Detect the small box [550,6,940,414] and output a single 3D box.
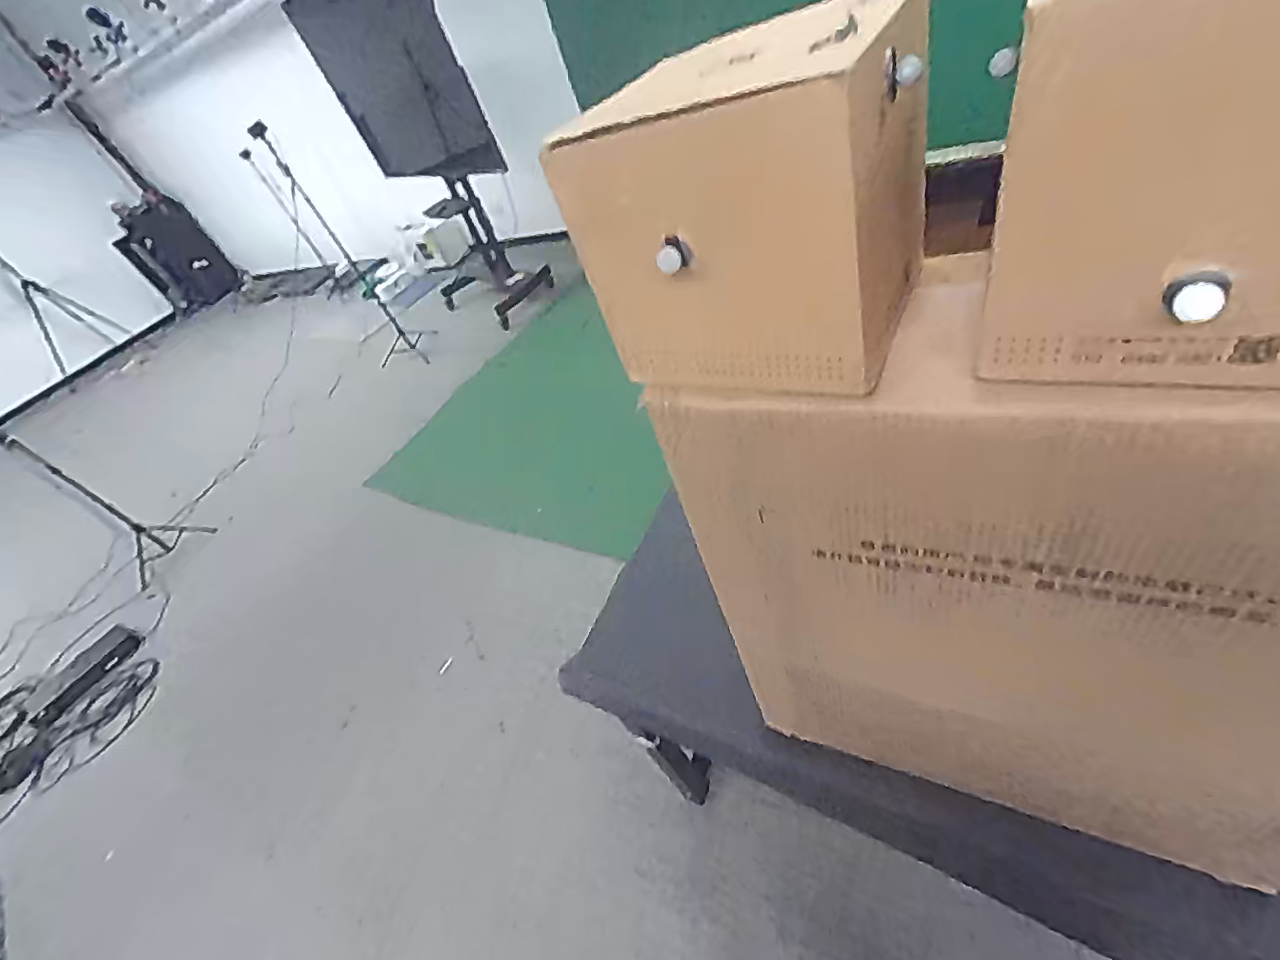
[{"bbox_3d":[0.080,-0.160,0.355,0.179,0.176,0.168,11,52,33],"label":"small box"}]
